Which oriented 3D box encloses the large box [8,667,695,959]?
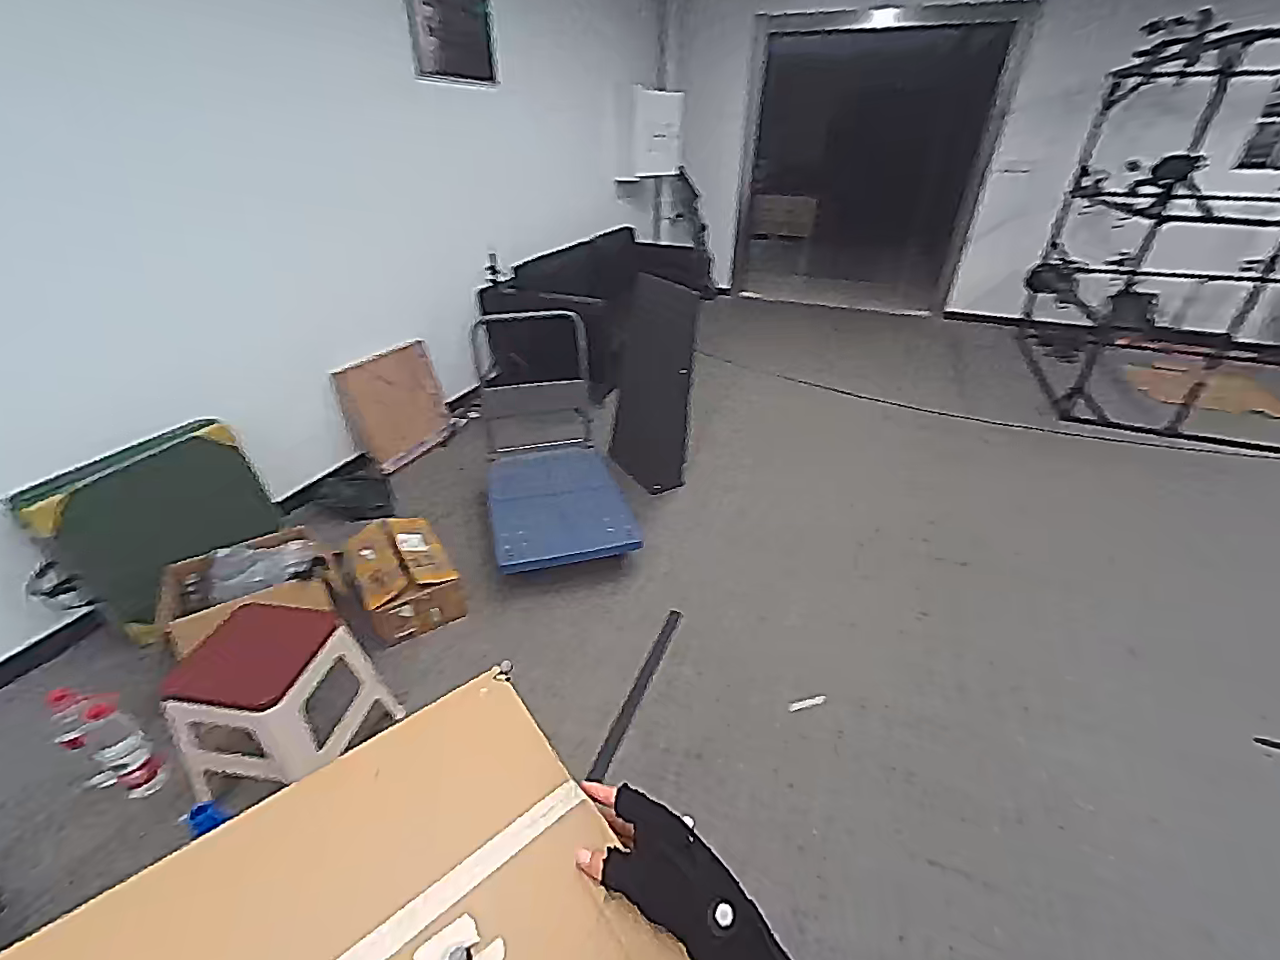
[{"bbox_3d":[-0.213,0.464,0.484,0.408,0.320,0.320,-23,46,-32],"label":"large box"}]
